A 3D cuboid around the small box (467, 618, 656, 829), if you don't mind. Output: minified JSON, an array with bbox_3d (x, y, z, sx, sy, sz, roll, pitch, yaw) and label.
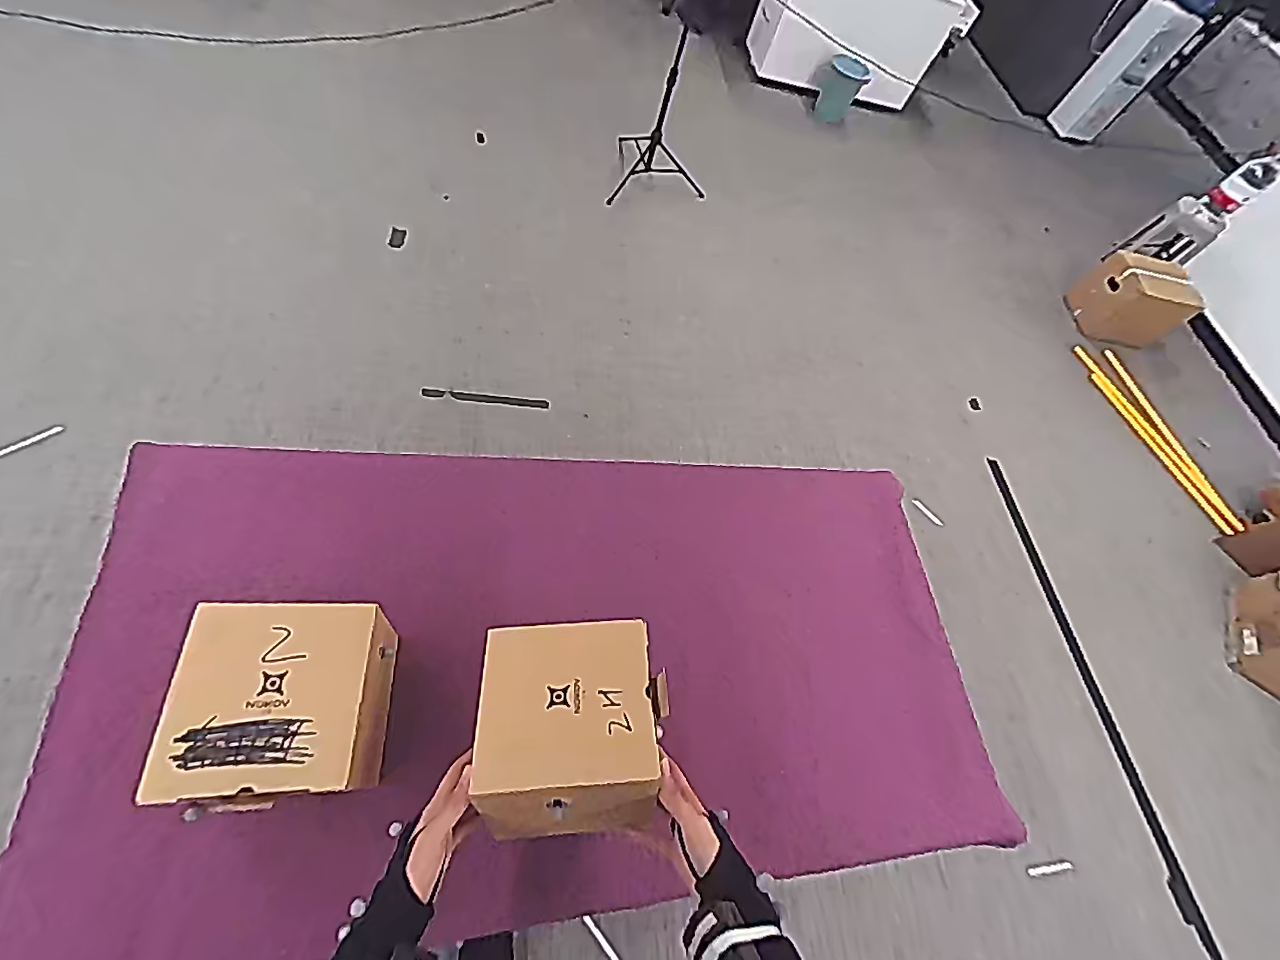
[{"bbox_3d":[-0.078,0.272,0.603,0.179,0.176,0.168,-1,45,-5],"label":"small box"}]
